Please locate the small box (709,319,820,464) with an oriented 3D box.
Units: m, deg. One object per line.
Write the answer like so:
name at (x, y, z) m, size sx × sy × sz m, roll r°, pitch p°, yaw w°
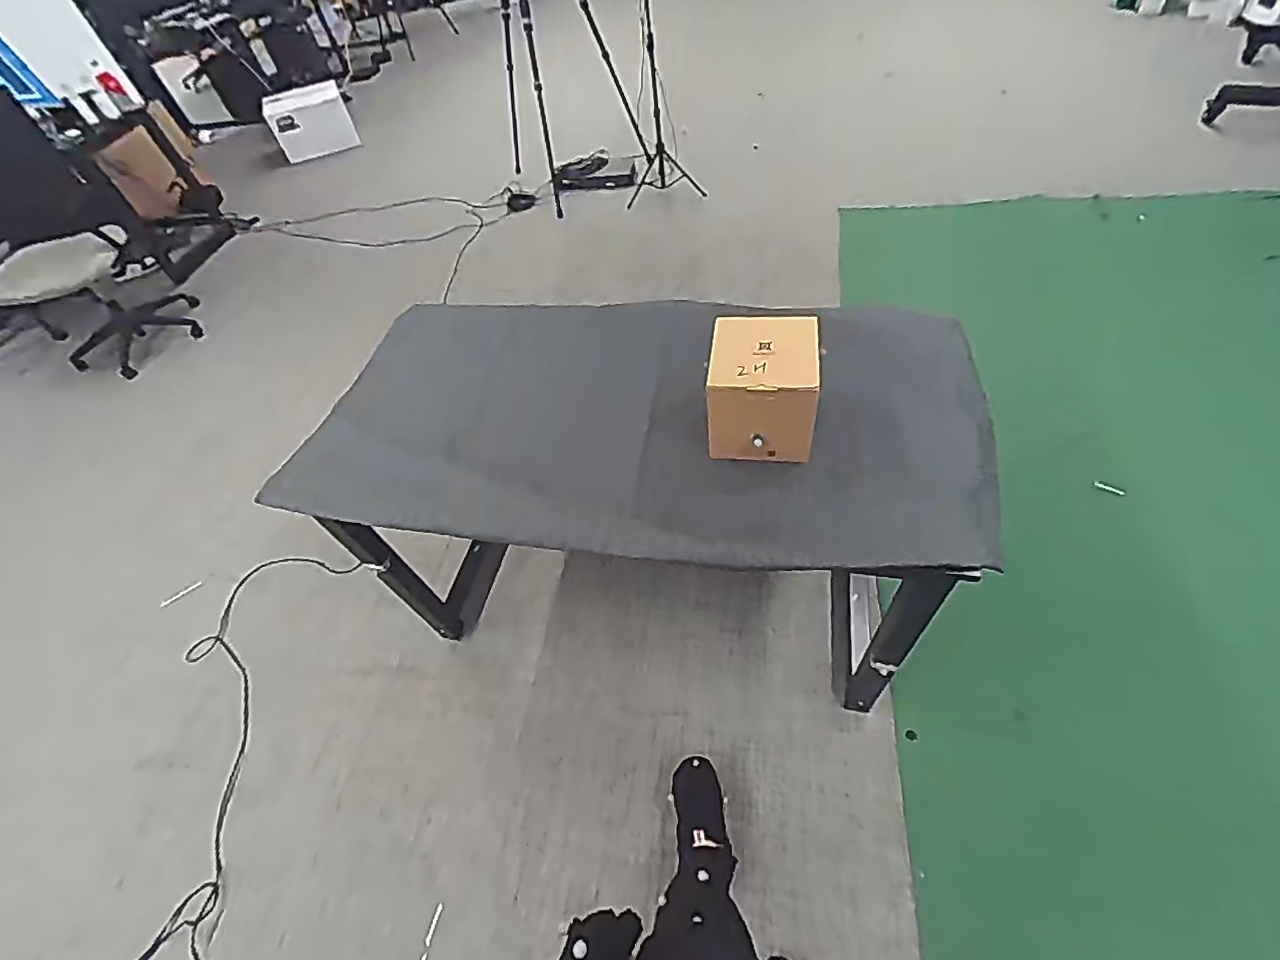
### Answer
small box at (0.207, -0.149, 0.910) m, size 0.168 × 0.176 × 0.179 m, roll 3°, pitch 52°, yaw 13°
